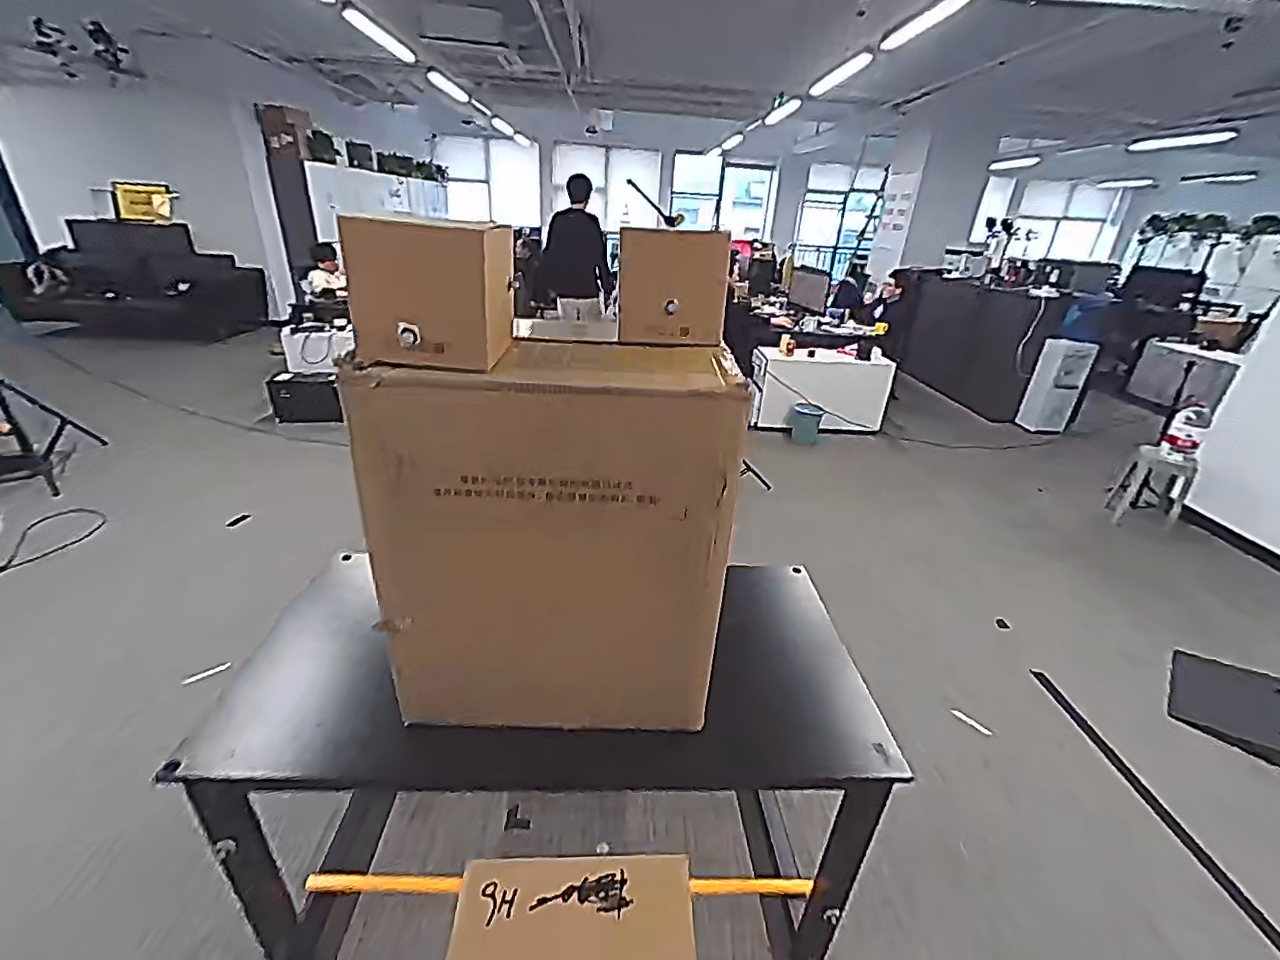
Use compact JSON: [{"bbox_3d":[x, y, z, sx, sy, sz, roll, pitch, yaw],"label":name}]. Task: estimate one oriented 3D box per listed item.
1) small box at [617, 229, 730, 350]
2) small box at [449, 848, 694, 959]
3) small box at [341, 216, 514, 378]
[{"bbox_3d":[0.045,-0.318,0.898,0.168,0.176,0.179,1,24,-3],"label":"small box"},{"bbox_3d":[-0.047,0.392,0.393,0.168,0.176,0.179,1,42,-3],"label":"small box"},{"bbox_3d":[-0.264,-0.245,0.714,0.168,0.176,0.179,3,28,-4],"label":"small box"}]
